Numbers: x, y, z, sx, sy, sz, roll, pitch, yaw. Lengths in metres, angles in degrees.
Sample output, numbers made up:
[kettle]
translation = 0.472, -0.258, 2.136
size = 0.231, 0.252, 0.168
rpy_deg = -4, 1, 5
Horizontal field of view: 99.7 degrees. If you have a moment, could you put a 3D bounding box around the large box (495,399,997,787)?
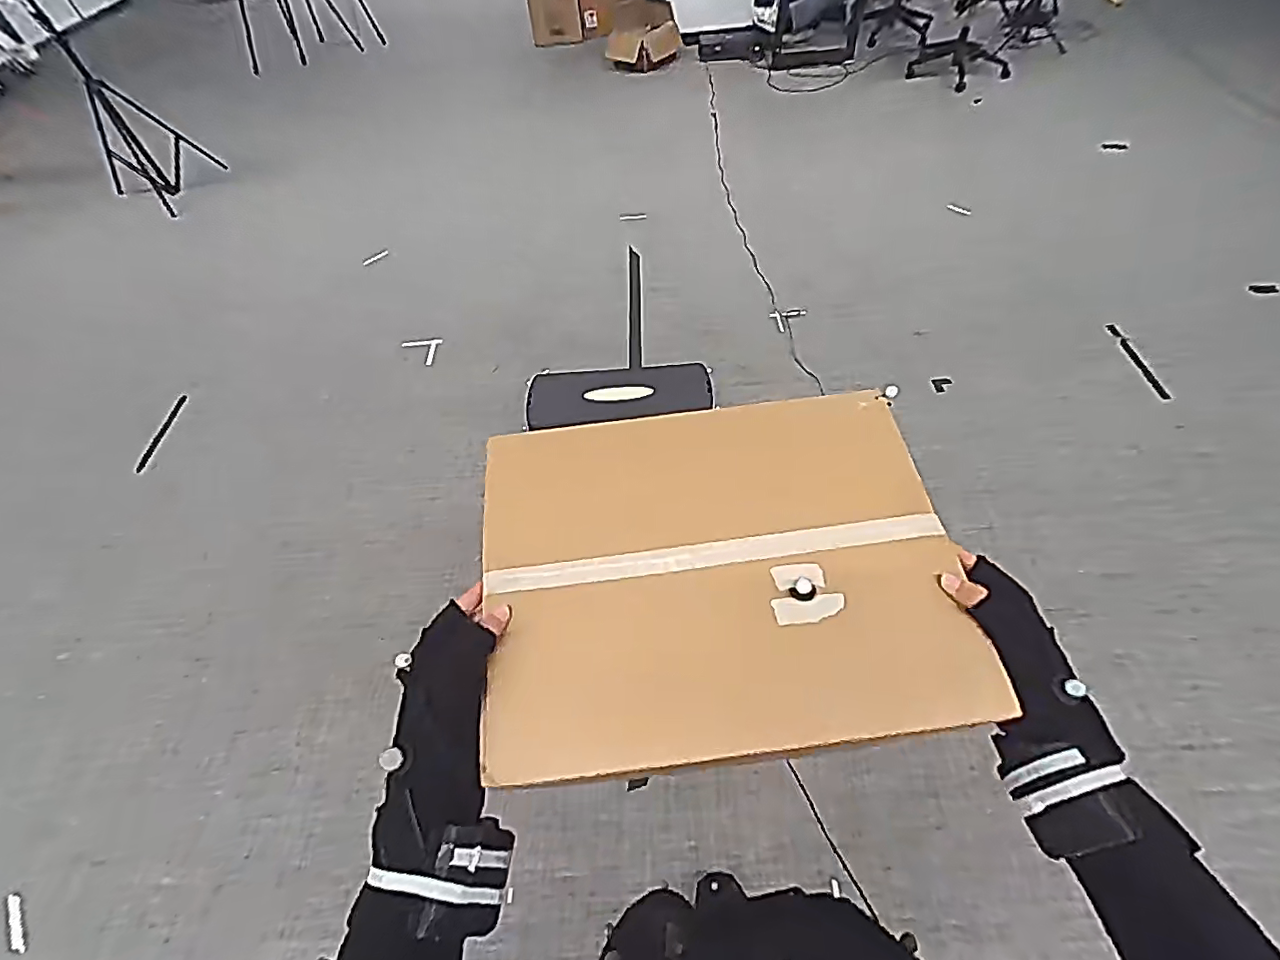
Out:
[large box]
translation = 0.072, 0.145, 0.618
size = 0.408, 0.320, 0.320
rpy_deg = -7, 60, -1
